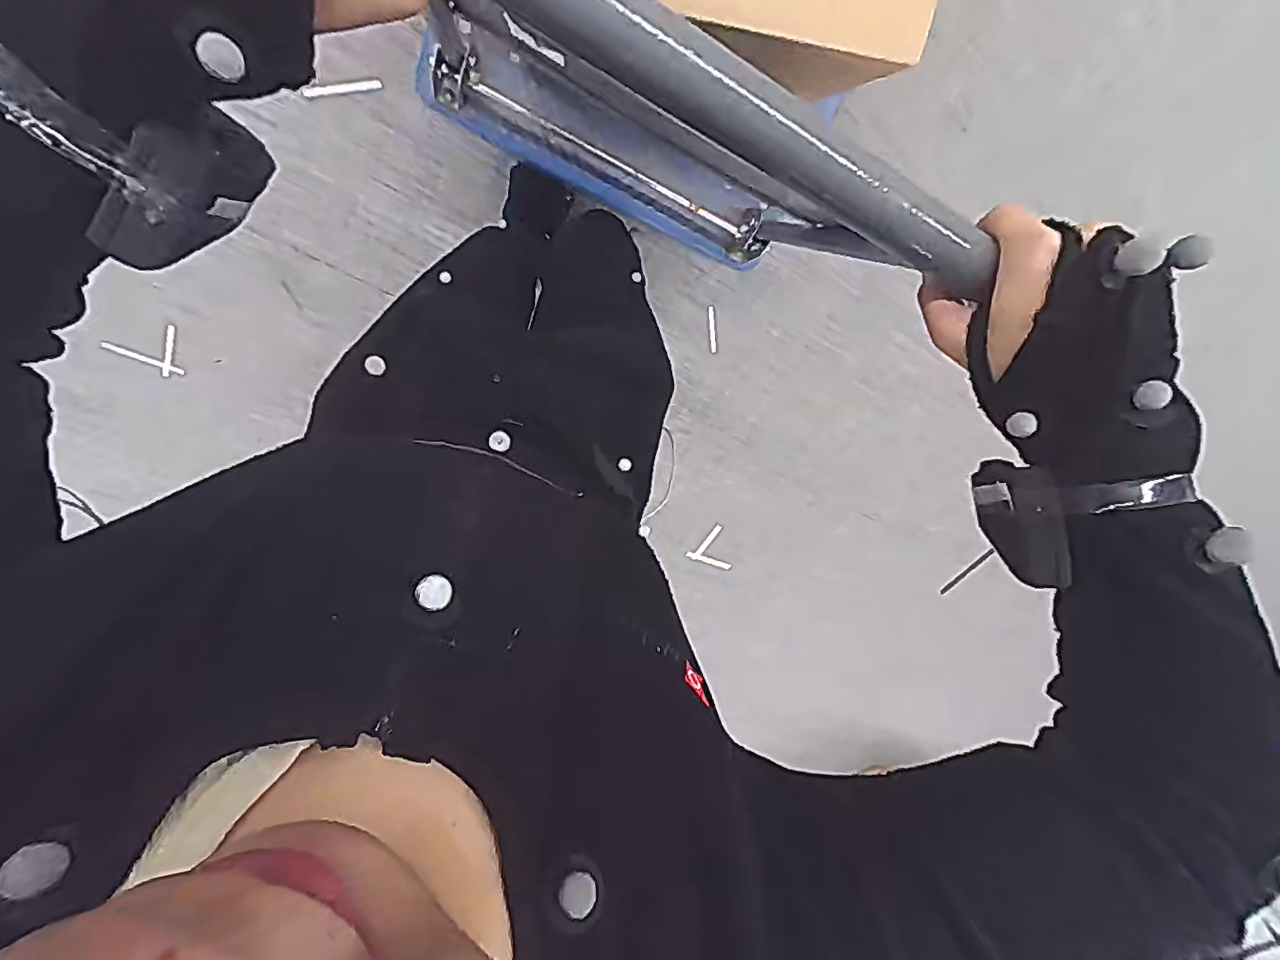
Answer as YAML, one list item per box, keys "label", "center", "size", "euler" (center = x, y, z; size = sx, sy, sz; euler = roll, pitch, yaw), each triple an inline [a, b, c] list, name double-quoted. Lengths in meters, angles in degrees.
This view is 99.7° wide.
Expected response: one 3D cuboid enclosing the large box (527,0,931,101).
- label: "large box"
  center: [0.083, -0.651, 0.592]
  size: [0.408, 0.320, 0.320]
  euler: [0, 117, -14]
